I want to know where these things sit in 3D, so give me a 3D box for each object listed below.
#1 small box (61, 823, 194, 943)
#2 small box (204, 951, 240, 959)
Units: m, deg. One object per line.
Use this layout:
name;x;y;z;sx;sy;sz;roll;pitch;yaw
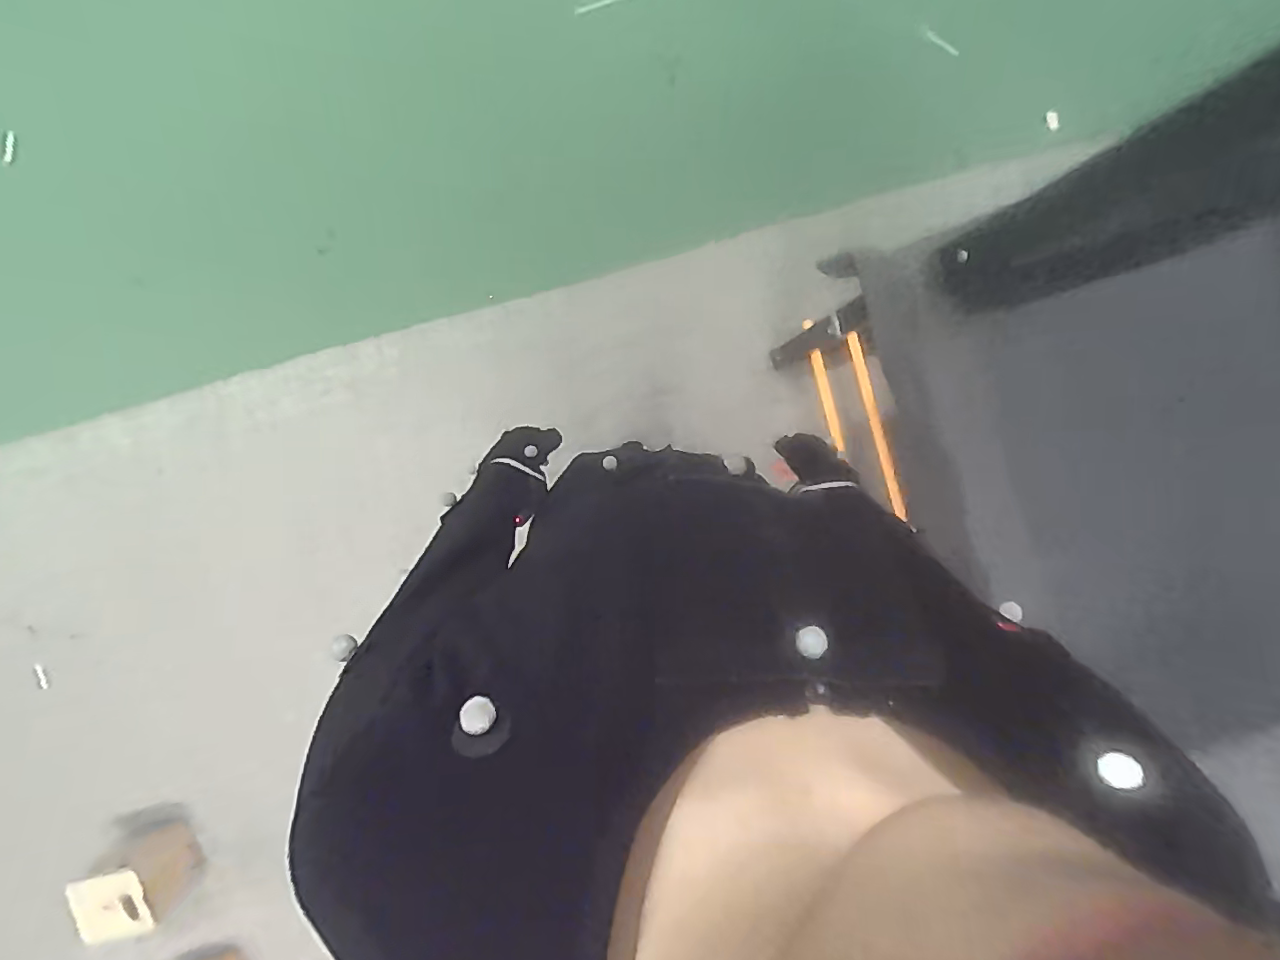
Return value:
small box;-1.302;1.024;1.392;0.179;0.176;0.168;-12;94;-2
small box;-1.180;1.407;1.422;0.179;0.176;0.168;-17;94;-2
